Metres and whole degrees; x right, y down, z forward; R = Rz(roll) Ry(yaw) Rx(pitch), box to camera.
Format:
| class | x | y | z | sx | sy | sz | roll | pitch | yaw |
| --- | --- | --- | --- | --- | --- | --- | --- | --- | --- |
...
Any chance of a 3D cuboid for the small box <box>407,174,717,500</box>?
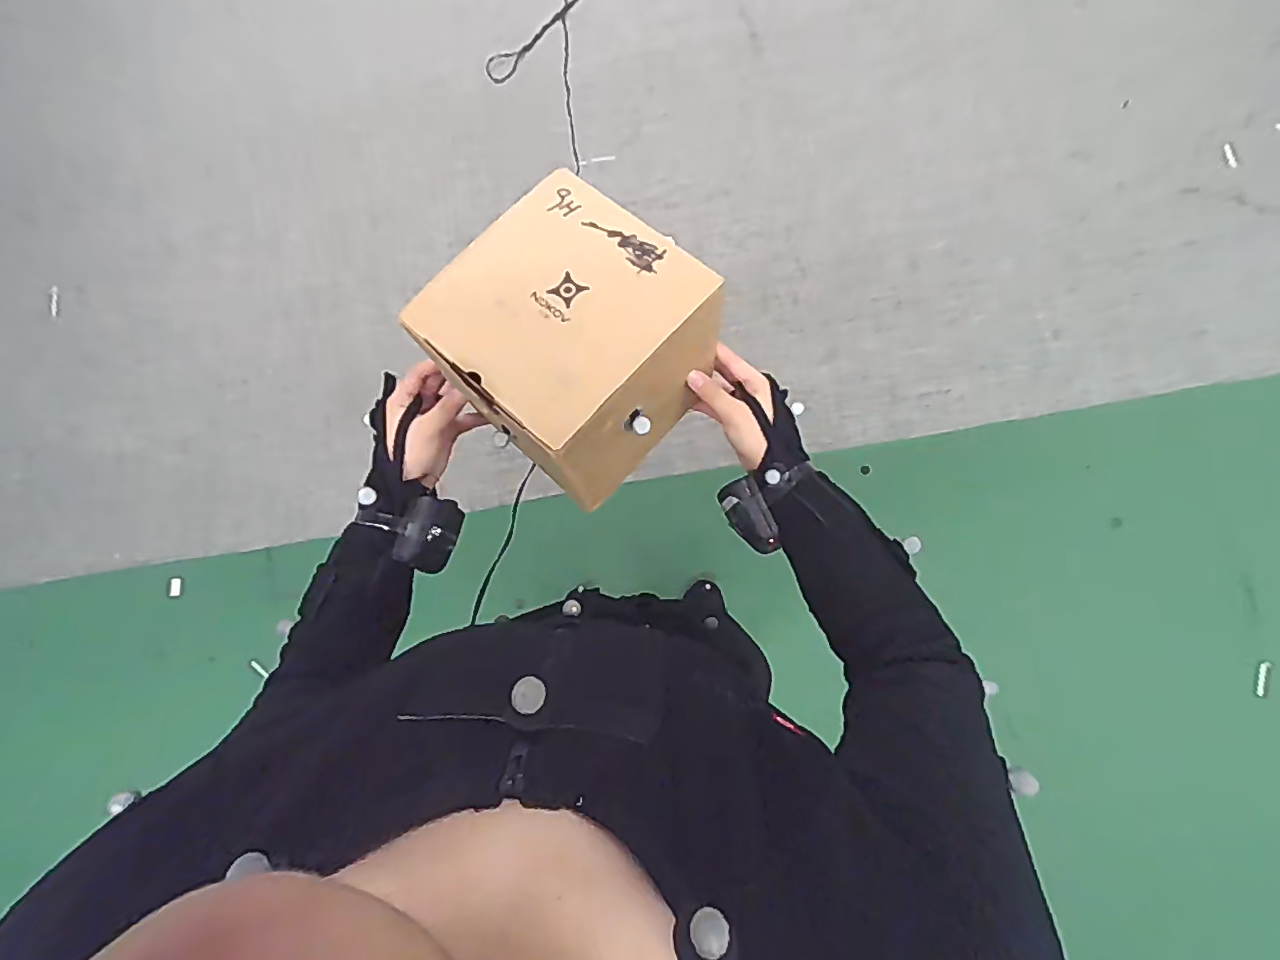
| class | x | y | z | sx | sy | sz | roll | pitch | yaw |
| --- | --- | --- | --- | --- | --- | --- | --- | --- | --- |
| small box | -0.052 | -0.107 | 0.469 | 0.168 | 0.176 | 0.179 | 40 | 80 | 14 |
